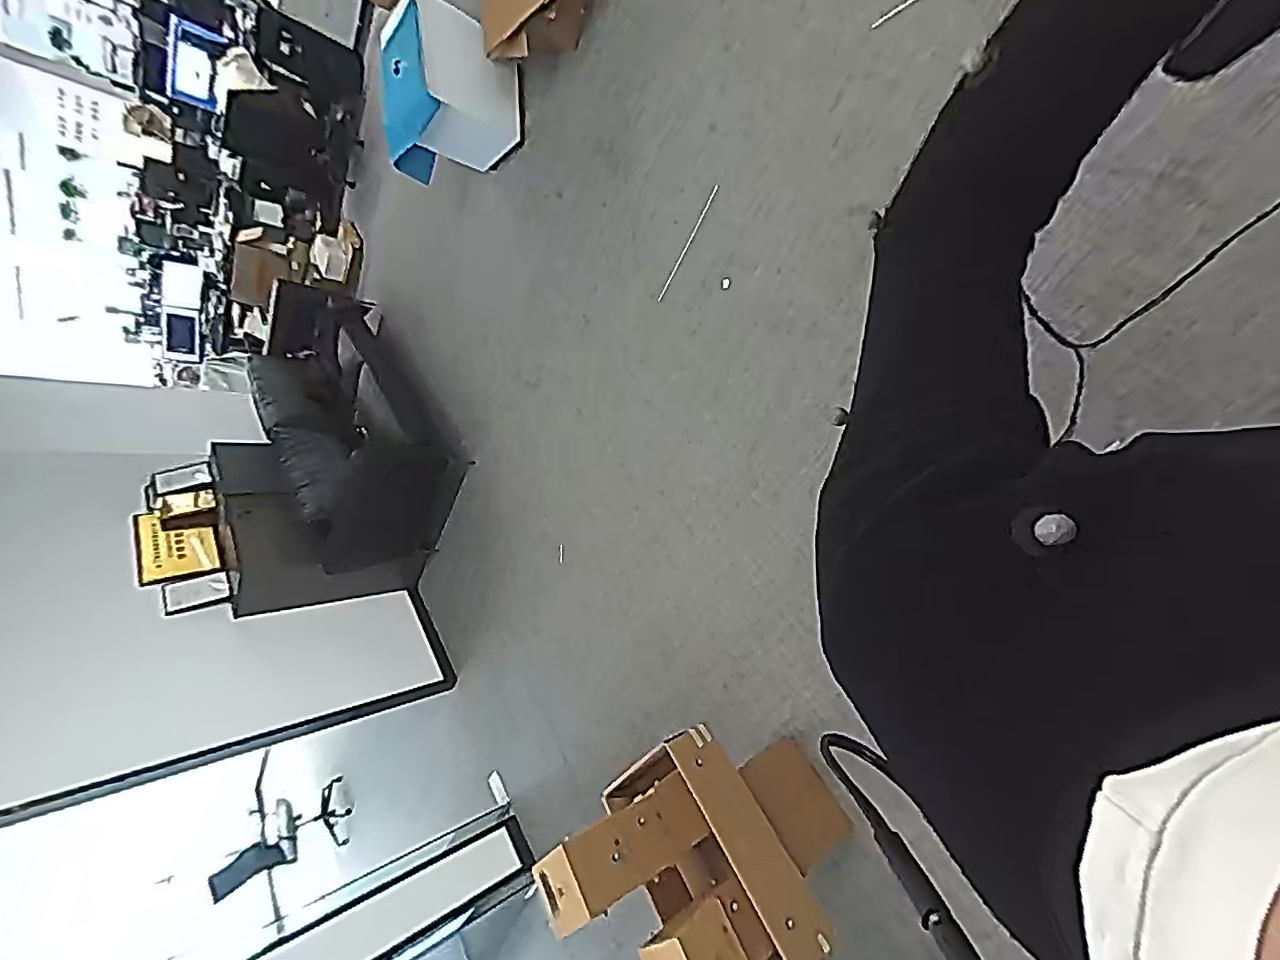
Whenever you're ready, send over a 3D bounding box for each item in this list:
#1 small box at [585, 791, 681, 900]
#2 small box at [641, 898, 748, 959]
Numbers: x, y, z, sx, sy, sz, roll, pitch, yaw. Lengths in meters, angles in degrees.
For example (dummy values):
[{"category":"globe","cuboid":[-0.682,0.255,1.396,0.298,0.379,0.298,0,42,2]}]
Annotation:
[{"category":"small box","cuboid":[-0.013,0.984,1.468,0.179,0.176,0.168,-54,55,31]},{"category":"small box","cuboid":[0.140,1.167,1.321,0.179,0.176,0.168,-51,58,33]}]
